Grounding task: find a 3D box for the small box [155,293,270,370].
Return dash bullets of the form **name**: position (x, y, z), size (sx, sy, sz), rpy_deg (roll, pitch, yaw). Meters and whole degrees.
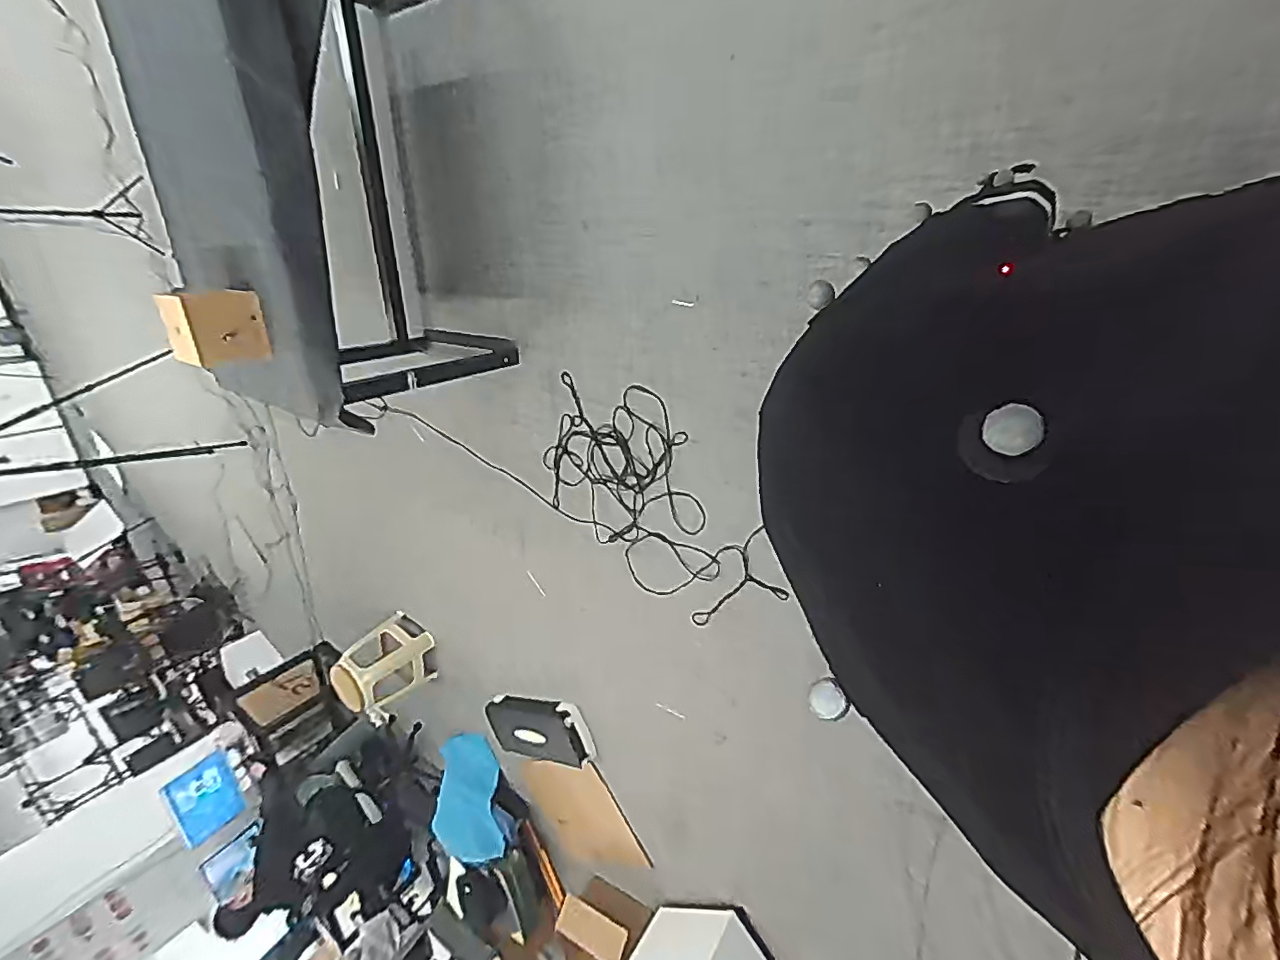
- **small box**: position (-1.080, -0.386, 1.380), size (0.179, 0.176, 0.168), rpy_deg (15, 117, 33)
